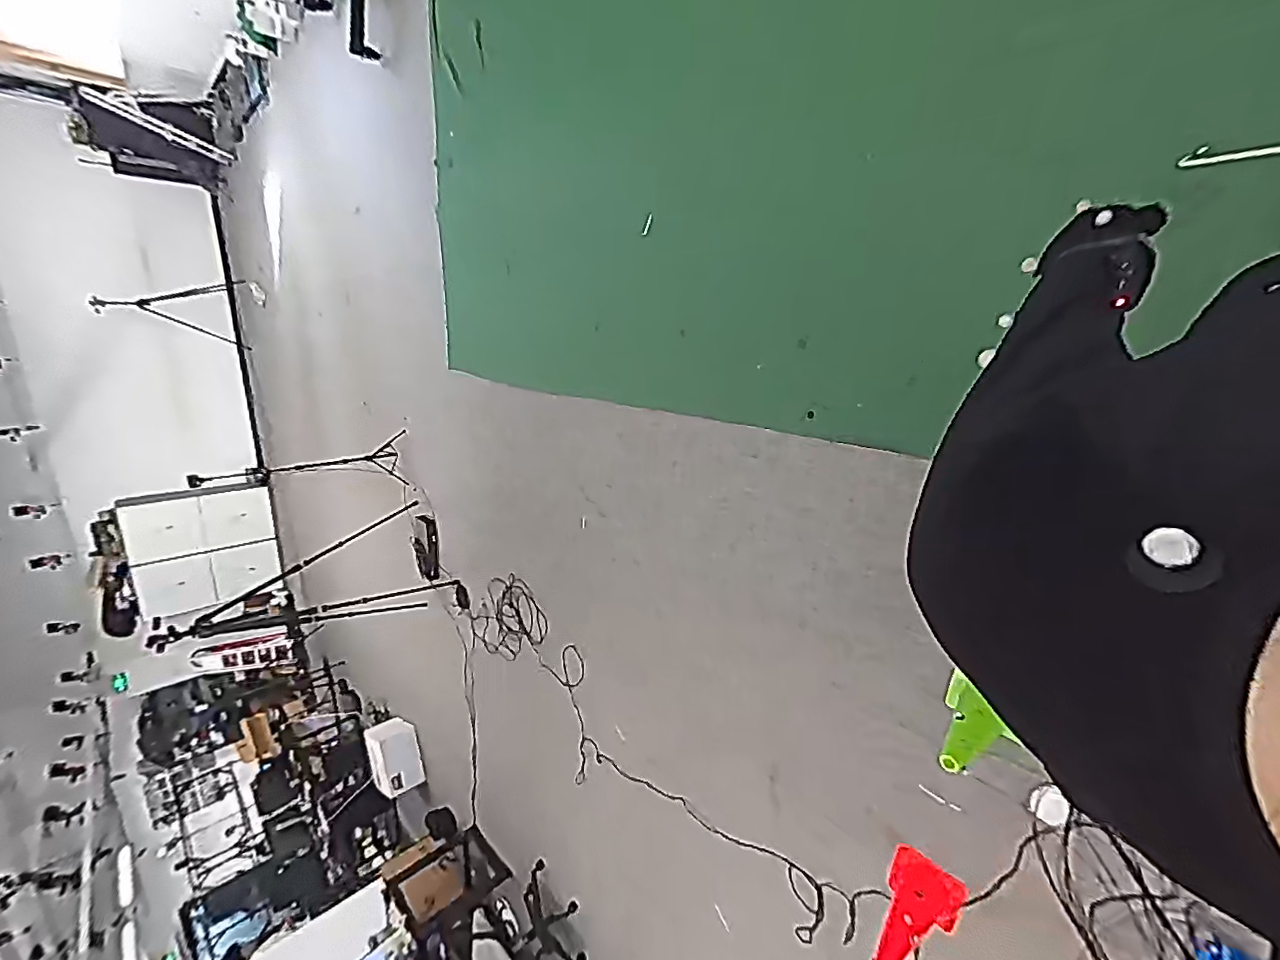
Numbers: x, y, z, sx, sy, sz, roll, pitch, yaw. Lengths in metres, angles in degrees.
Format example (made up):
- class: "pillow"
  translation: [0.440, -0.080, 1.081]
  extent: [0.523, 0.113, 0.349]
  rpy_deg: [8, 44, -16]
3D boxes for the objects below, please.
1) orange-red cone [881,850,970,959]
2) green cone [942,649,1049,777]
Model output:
- class: "orange-red cone"
  translation: [0.765, 1.290, 1.541]
  extent: [0.198, 0.360, 0.199]
  rpy_deg: [22, 114, 41]
- class: "green cone"
  translation: [0.812, 0.597, 1.309]
  extent: [0.200, 0.368, 0.202]
  rpy_deg: [20, 115, 43]
